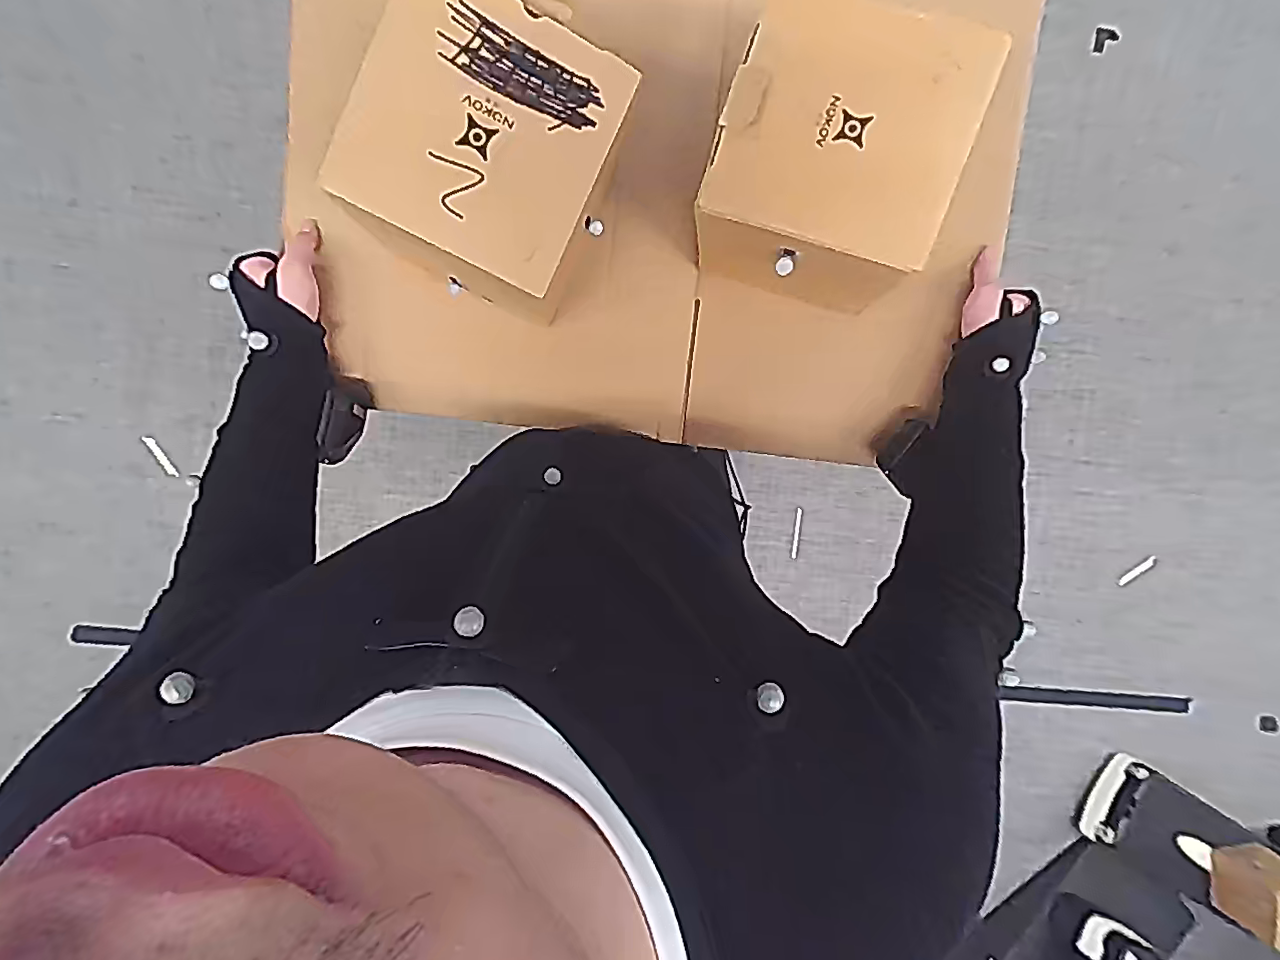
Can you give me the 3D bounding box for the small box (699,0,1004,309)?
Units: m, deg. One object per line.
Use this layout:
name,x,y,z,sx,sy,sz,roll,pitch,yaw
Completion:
small box,0.163,-0.264,0.480,0.179,0.176,0.168,20,98,6
